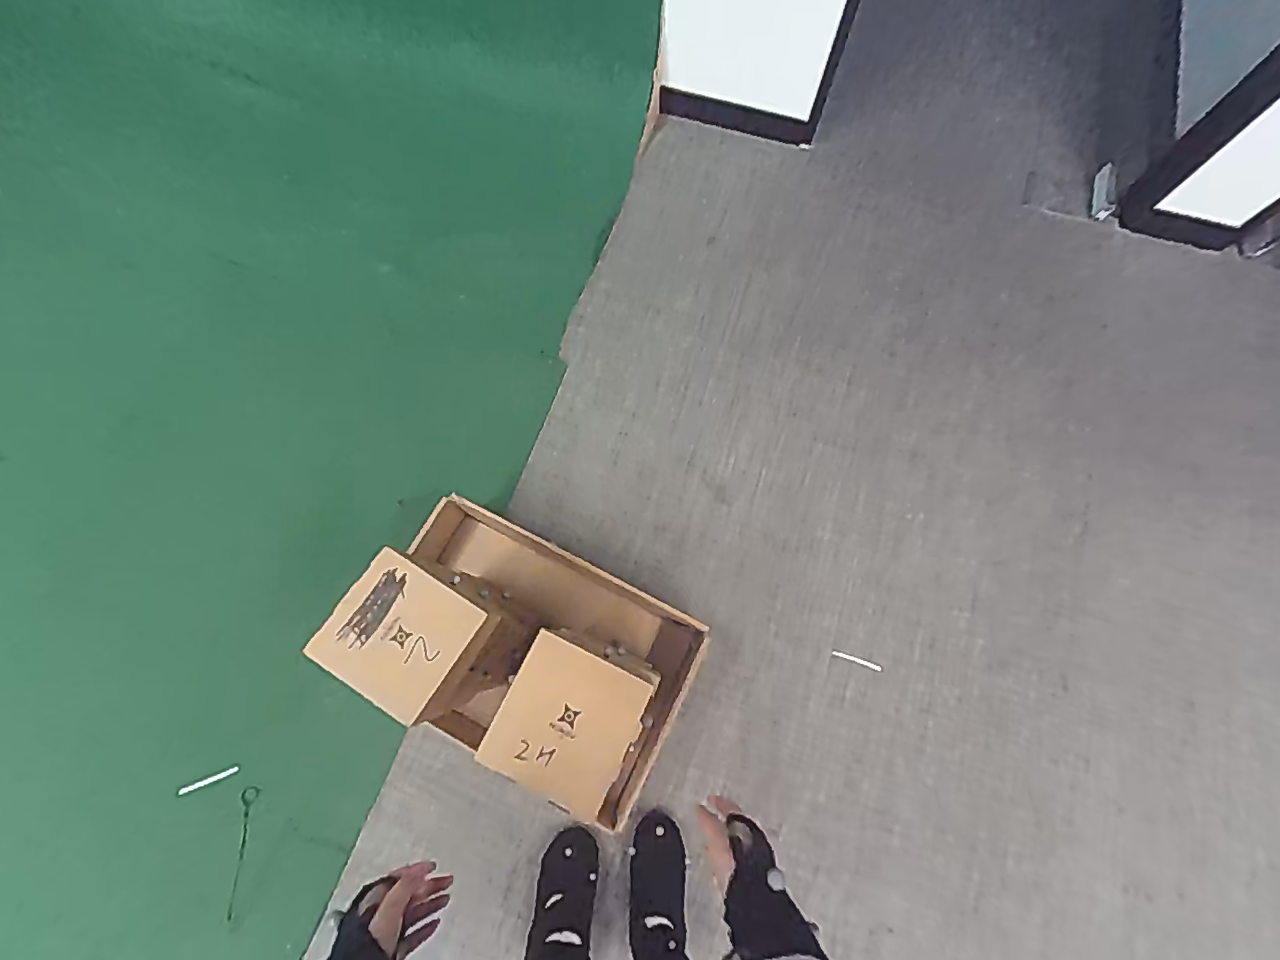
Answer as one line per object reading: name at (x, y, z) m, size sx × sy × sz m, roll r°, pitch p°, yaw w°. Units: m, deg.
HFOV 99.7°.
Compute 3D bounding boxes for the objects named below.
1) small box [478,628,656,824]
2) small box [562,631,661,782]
small box at (-0.090, 0.324, 0.747) m, size 0.168 × 0.176 × 0.179 m, roll 25°, pitch 75°, yaw 9°
small box at (-0.077, 0.365, 0.906) m, size 0.179 × 0.176 × 0.168 m, roll 24°, pitch 75°, yaw 9°
